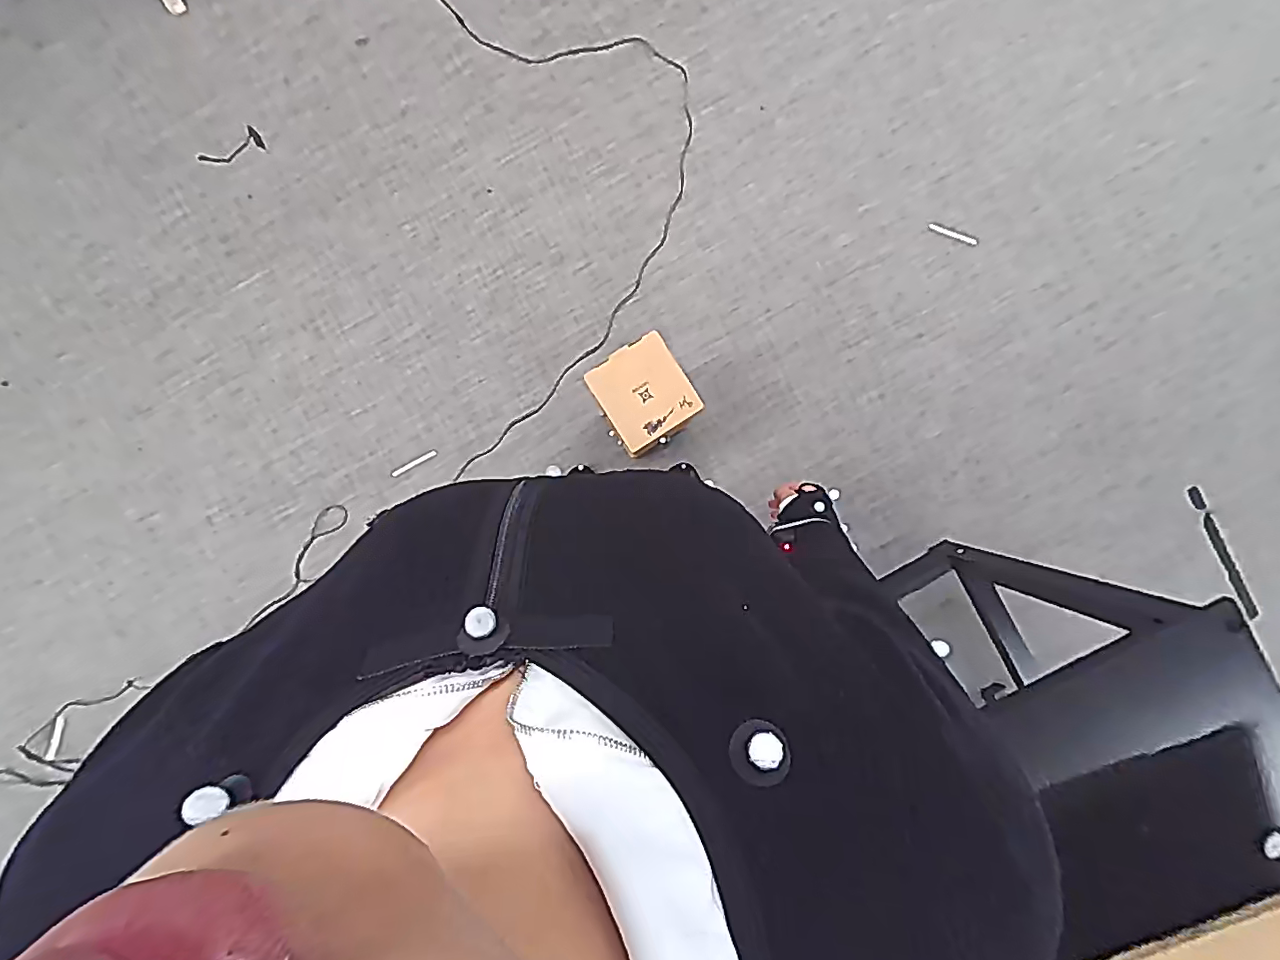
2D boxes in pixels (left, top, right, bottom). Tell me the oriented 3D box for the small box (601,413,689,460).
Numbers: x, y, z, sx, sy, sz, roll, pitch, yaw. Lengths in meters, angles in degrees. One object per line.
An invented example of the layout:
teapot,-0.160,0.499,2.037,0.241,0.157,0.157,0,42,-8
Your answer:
small box,0.008,-0.165,1.417,0.179,0.176,0.168,-32,90,2

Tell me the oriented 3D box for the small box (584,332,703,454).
small box,0.005,-0.165,1.091,0.168,0.176,0.179,-32,91,1
